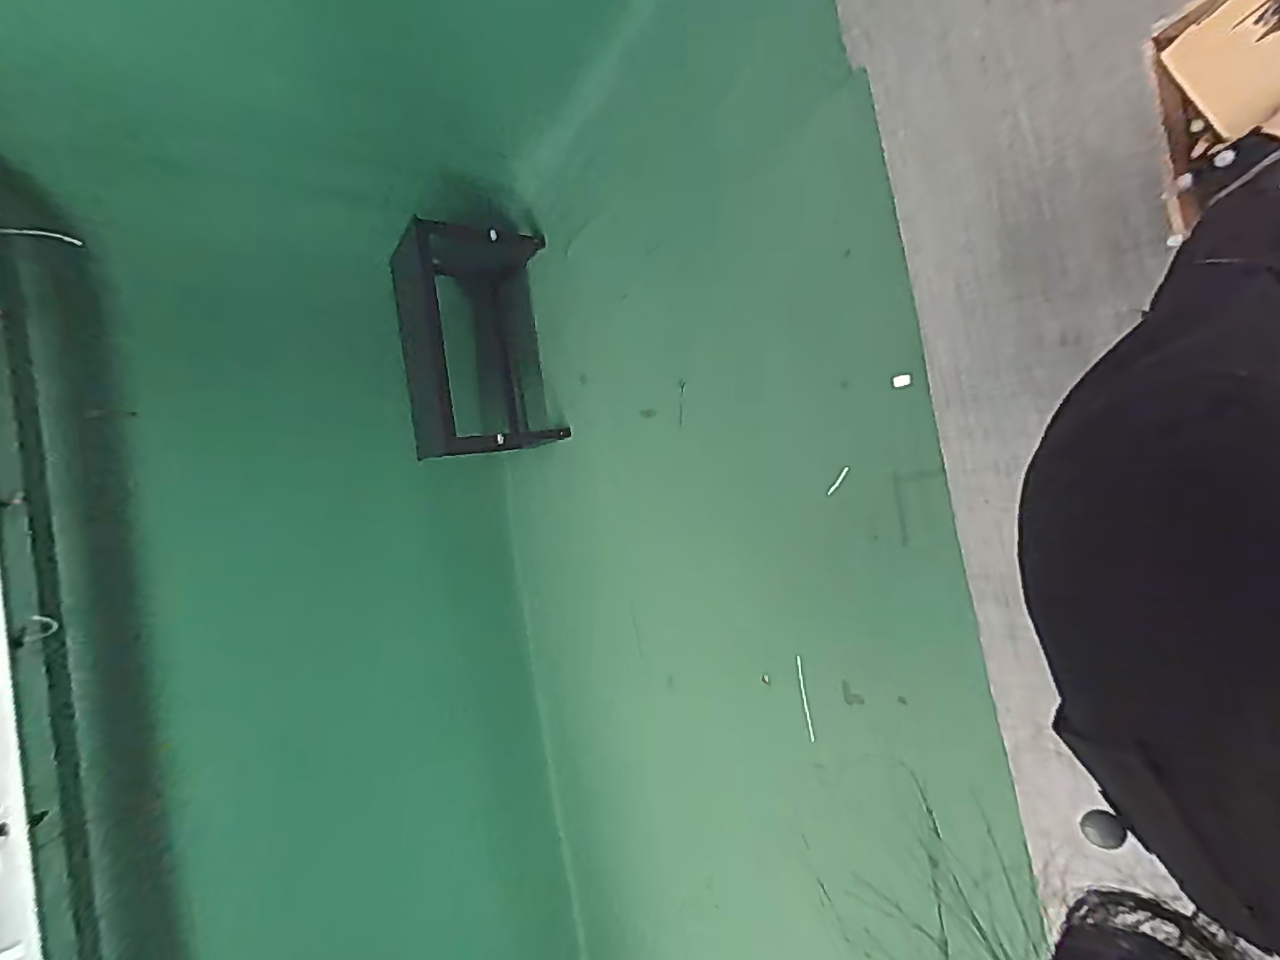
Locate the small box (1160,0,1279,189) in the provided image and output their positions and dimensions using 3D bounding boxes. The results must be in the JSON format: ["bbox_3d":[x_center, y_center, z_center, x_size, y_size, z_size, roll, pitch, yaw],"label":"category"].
[{"bbox_3d":[0.660,-0.409,0.513,0.168,0.176,0.179,-40,65,52],"label":"small box"}]
